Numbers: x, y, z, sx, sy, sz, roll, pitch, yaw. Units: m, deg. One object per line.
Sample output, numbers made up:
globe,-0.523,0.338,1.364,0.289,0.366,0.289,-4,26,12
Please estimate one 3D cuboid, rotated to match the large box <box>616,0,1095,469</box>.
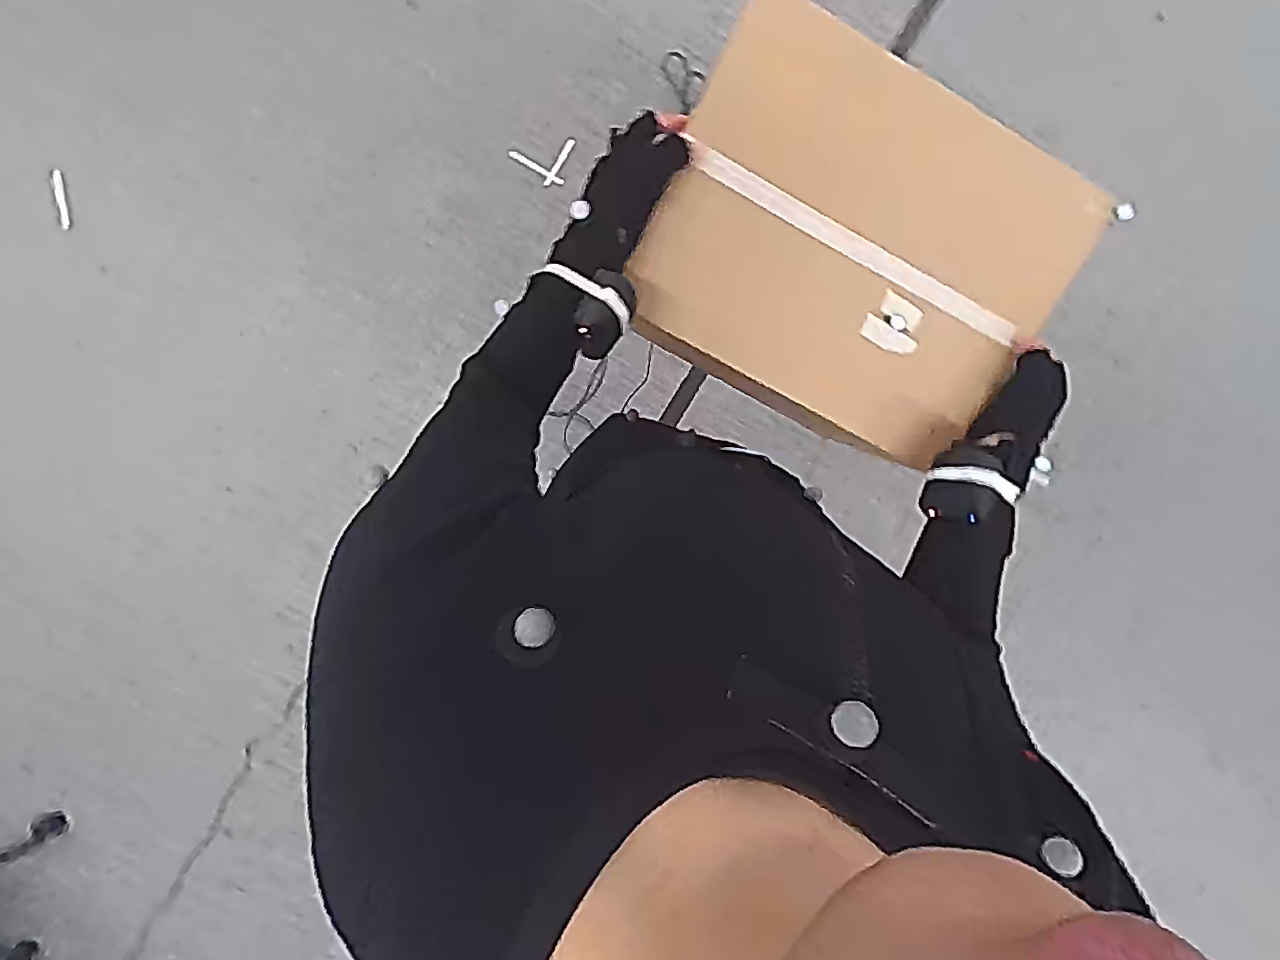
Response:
large box,0.211,-0.261,0.692,0.408,0.320,0.320,27,102,-7
